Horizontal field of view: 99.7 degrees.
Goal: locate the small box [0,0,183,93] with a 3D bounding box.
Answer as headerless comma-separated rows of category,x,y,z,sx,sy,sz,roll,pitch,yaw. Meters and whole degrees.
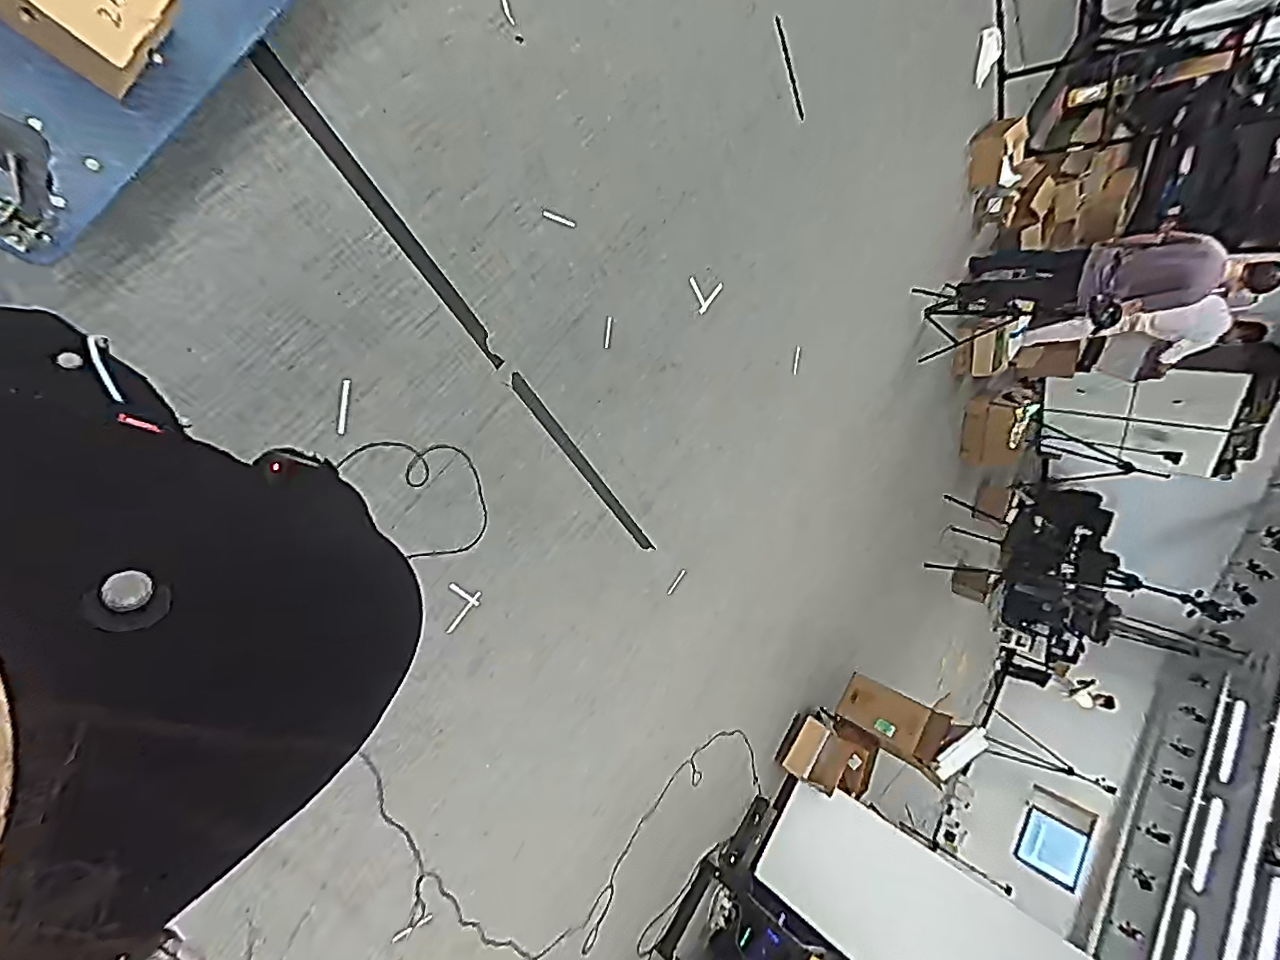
small box,-0.795,-0.698,0.763,0.179,0.176,0.168,35,78,-46
